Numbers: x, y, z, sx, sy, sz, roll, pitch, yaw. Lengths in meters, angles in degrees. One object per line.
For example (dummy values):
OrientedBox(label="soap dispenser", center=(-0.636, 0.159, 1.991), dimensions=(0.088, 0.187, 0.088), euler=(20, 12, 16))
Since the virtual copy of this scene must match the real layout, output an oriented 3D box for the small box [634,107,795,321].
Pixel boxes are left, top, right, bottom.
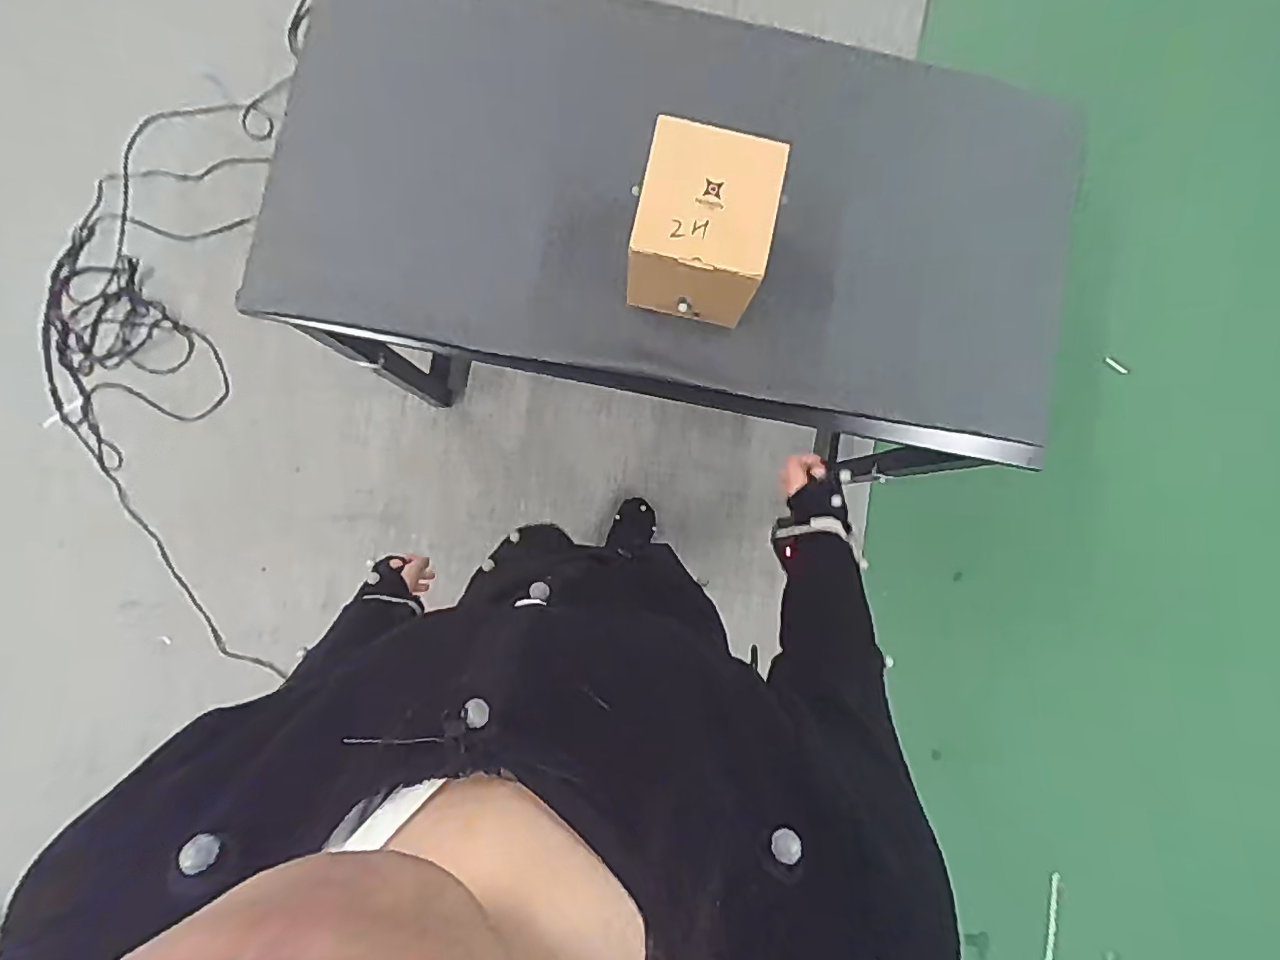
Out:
OrientedBox(label="small box", center=(0.087, -0.338, 0.719), dimensions=(0.168, 0.176, 0.179), euler=(12, 86, -1))
